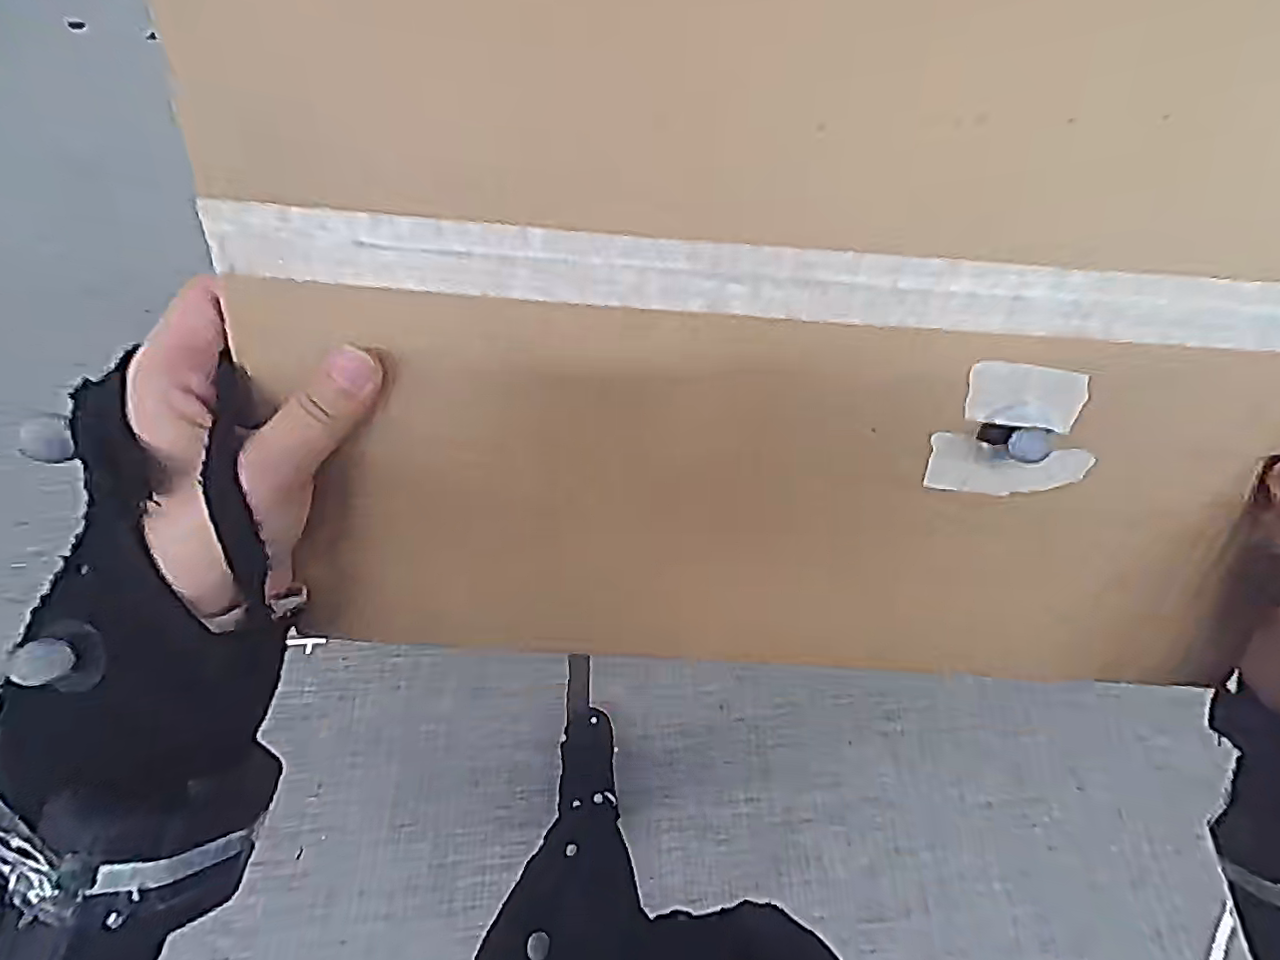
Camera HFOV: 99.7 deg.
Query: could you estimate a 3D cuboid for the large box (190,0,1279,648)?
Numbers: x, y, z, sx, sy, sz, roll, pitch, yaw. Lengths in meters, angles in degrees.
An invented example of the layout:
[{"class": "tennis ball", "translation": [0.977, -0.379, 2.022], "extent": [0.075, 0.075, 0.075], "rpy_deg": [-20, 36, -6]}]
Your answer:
[{"class": "large box", "translation": [0.061, -0.125, 0.323], "extent": [0.408, 0.320, 0.320], "rpy_deg": [3, 23, -3]}]
